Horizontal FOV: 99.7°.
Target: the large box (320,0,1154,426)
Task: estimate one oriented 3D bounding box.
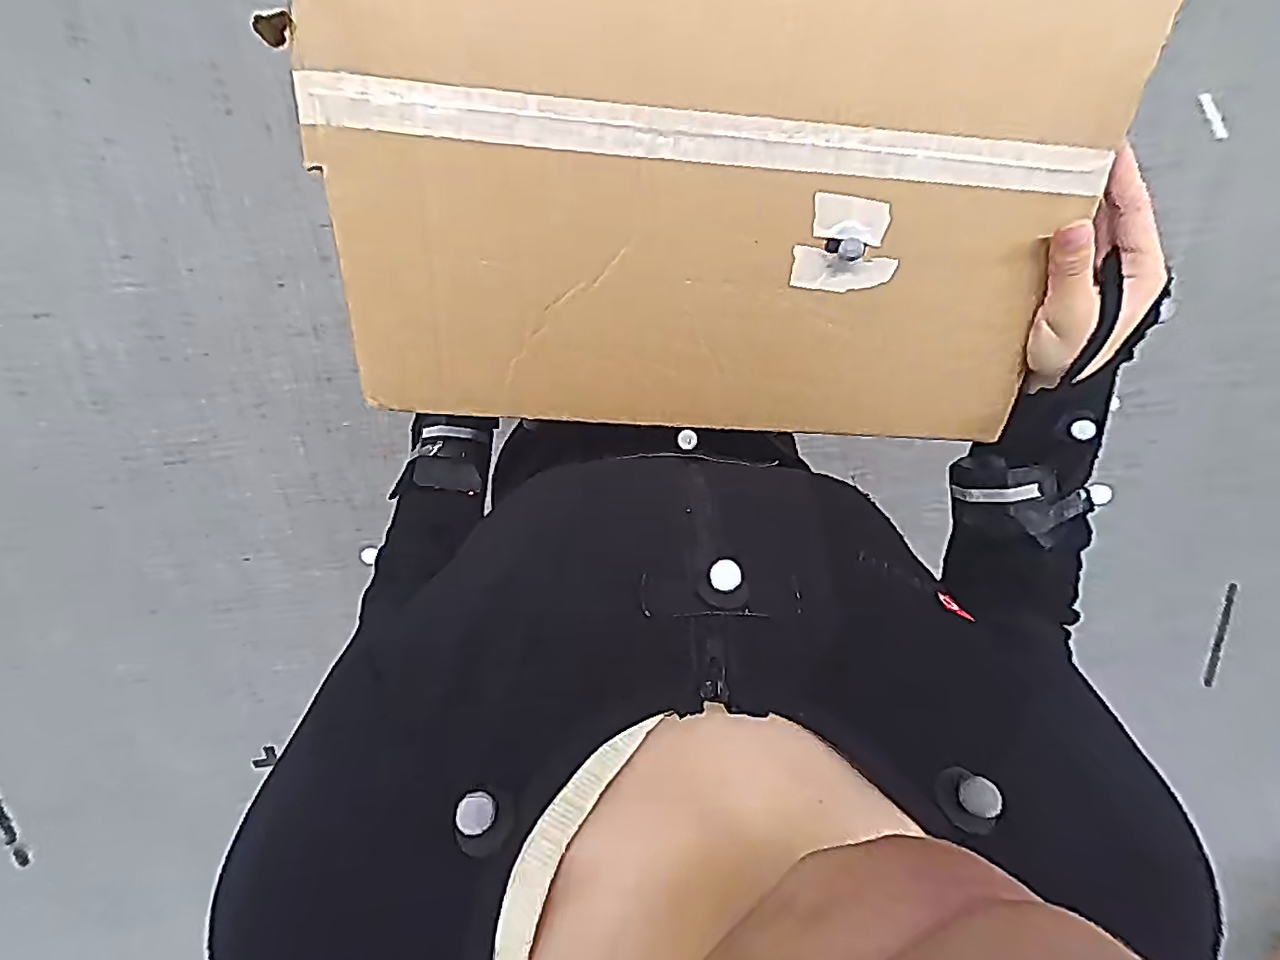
[{"bbox_3d":[0.036,-0.242,0.413,0.408,0.320,0.320,1,118,-6],"label":"large box"}]
